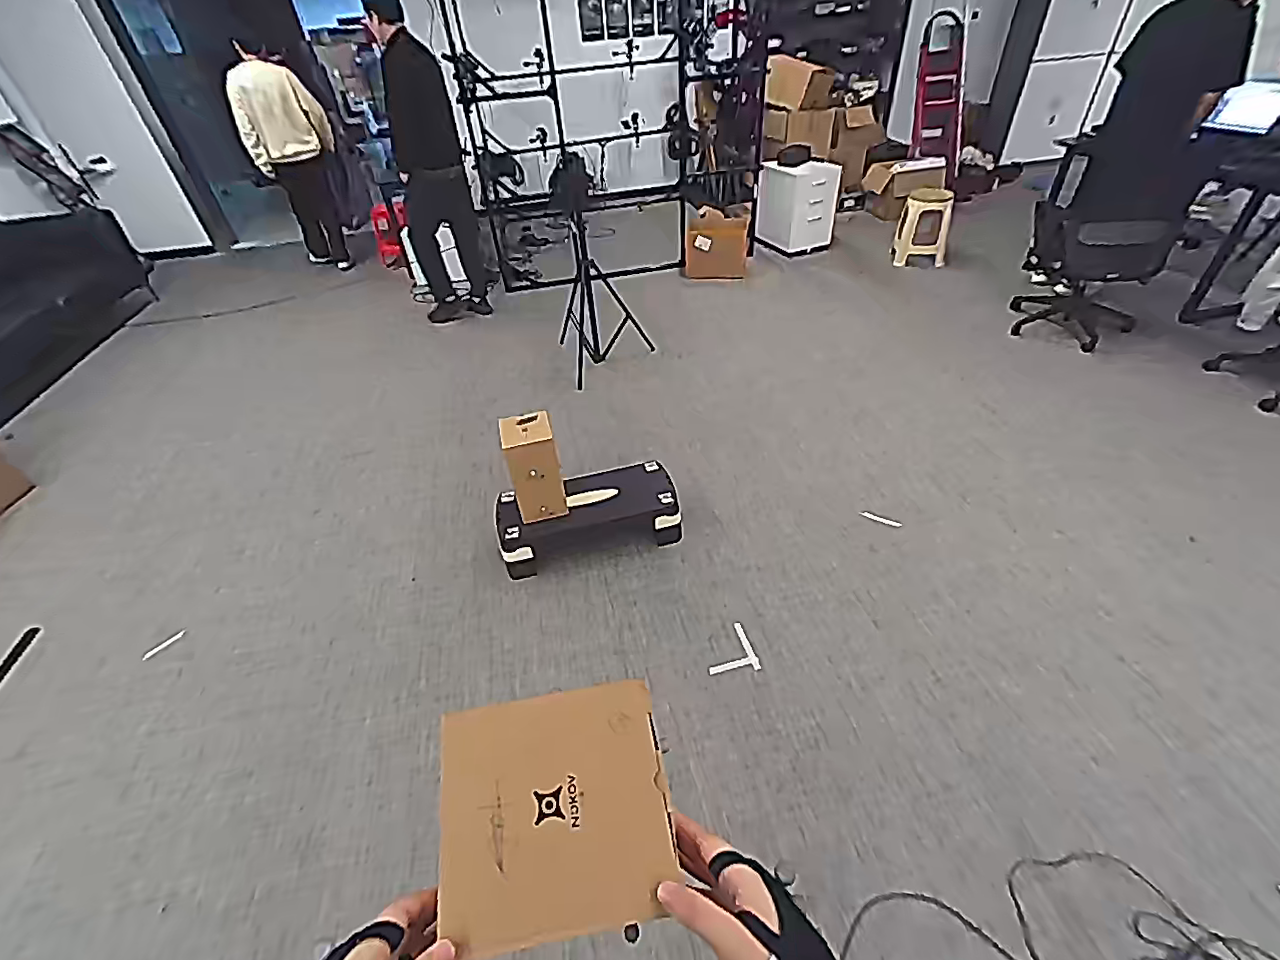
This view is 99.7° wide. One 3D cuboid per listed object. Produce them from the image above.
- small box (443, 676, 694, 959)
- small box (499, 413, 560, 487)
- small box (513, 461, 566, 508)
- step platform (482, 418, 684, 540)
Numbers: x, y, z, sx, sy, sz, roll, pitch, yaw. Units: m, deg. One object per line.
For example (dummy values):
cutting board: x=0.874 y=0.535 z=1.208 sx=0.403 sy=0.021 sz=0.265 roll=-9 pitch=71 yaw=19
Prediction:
small box: x=-0.061 y=0.293 z=0.479 sx=0.179 sy=0.176 sz=0.168 roll=-10 pitch=54 yaw=-6
small box: x=-0.377 y=-0.102 z=1.841 sx=0.168 sy=0.176 sz=0.179 roll=-13 pitch=41 yaw=-10
small box: x=-0.362 y=0.026 z=1.942 sx=0.168 sy=0.176 sz=0.179 roll=-13 pitch=41 yaw=-8
step platform: x=-0.194 y=-0.006 z=1.907 sx=0.684 sy=0.204 sz=0.286 roll=-12 pitch=40 yaw=-9
